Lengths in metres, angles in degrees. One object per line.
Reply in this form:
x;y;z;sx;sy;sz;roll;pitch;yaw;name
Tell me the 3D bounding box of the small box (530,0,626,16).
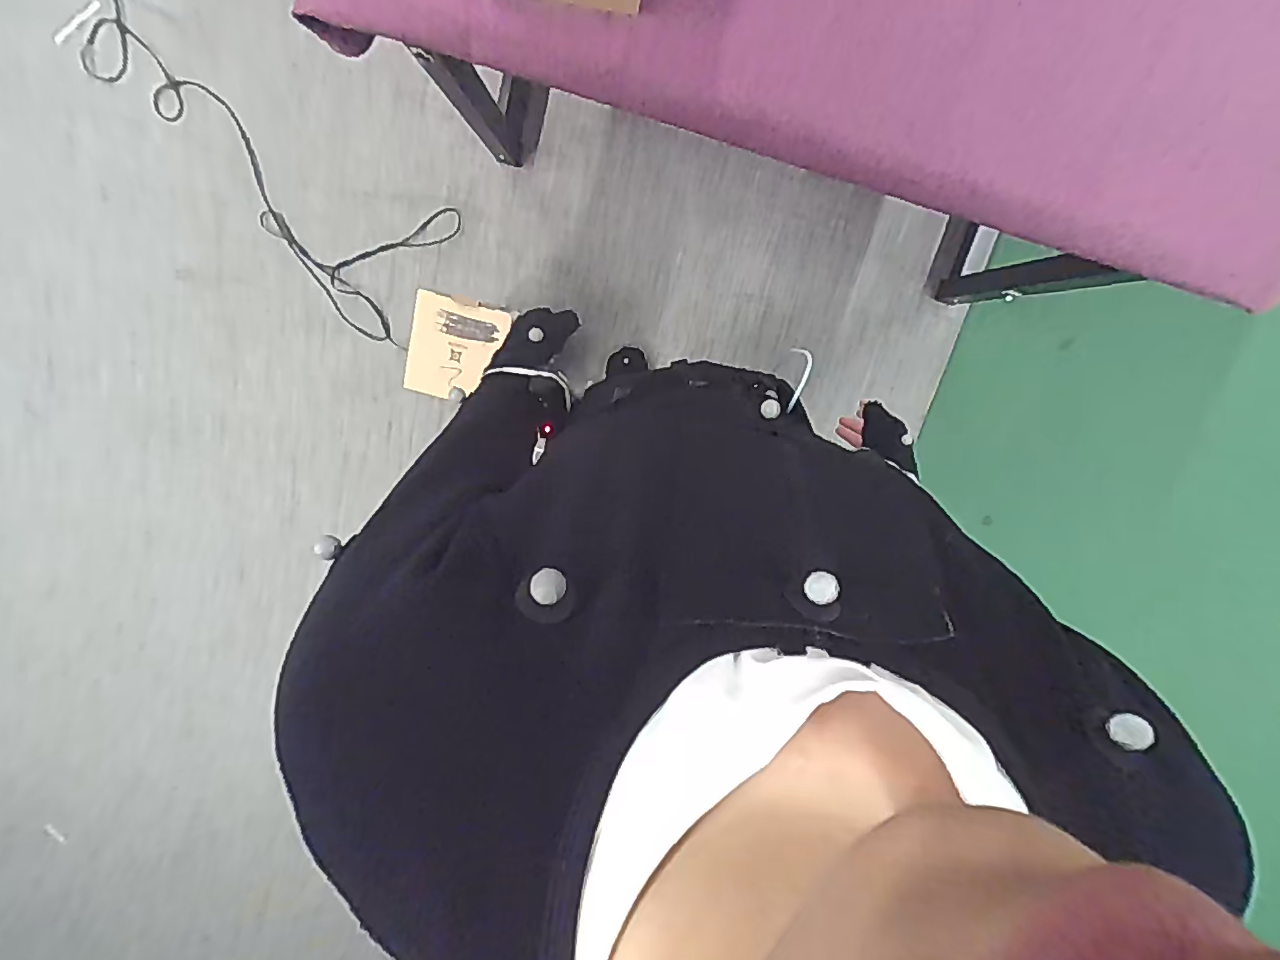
-0.079;-0.591;0.512;0.179;0.176;0.168;9;102;-3;small box
